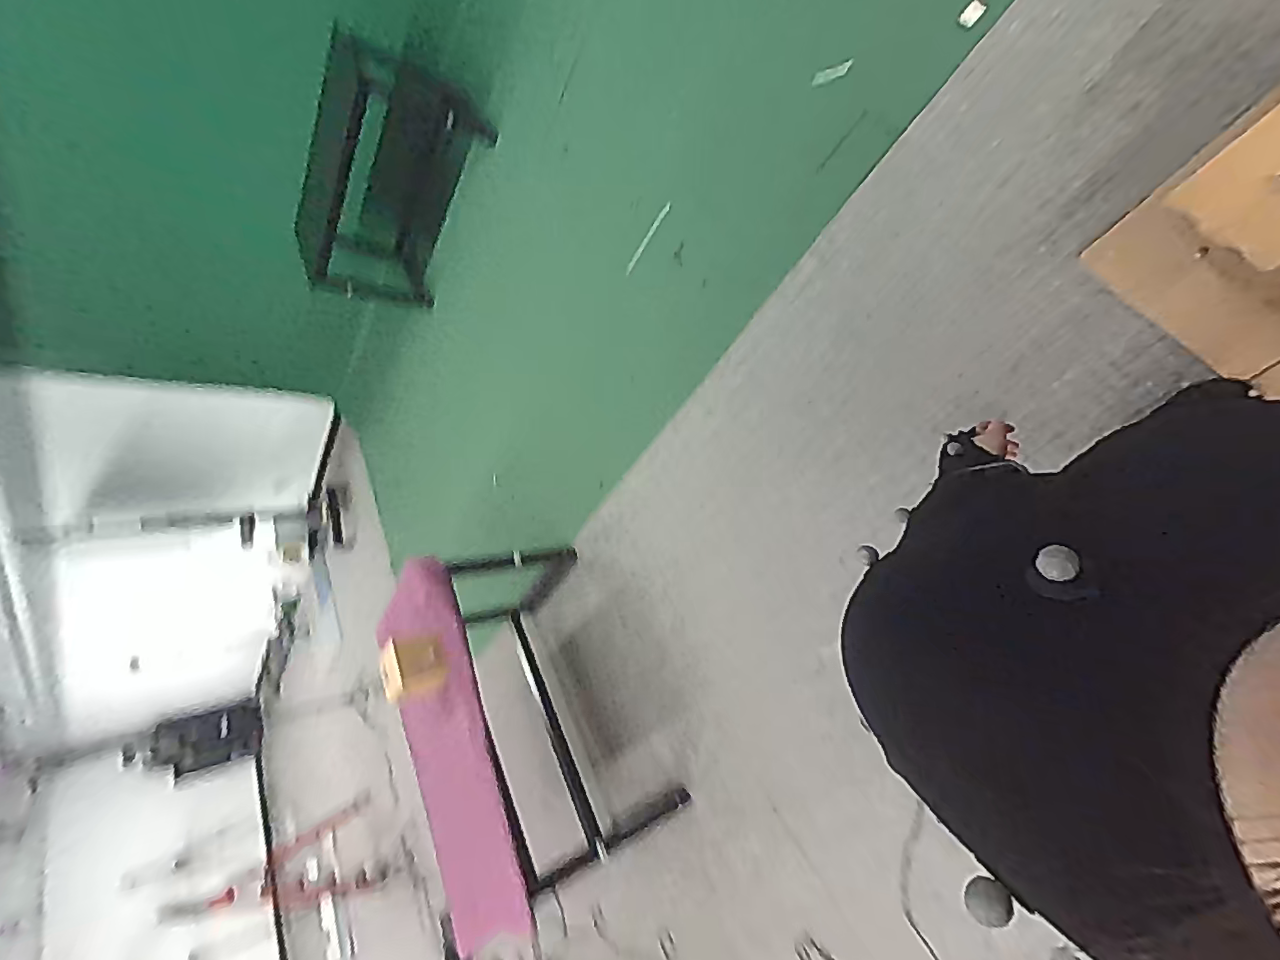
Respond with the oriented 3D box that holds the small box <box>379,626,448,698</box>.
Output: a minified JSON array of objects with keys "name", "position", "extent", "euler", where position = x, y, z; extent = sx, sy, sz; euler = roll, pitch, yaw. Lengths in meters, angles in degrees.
[{"name":"small box","position":[-0.802,0.643,1.916],"extent":[0.179,0.176,0.168],"euler":[-49,58,35]}]
